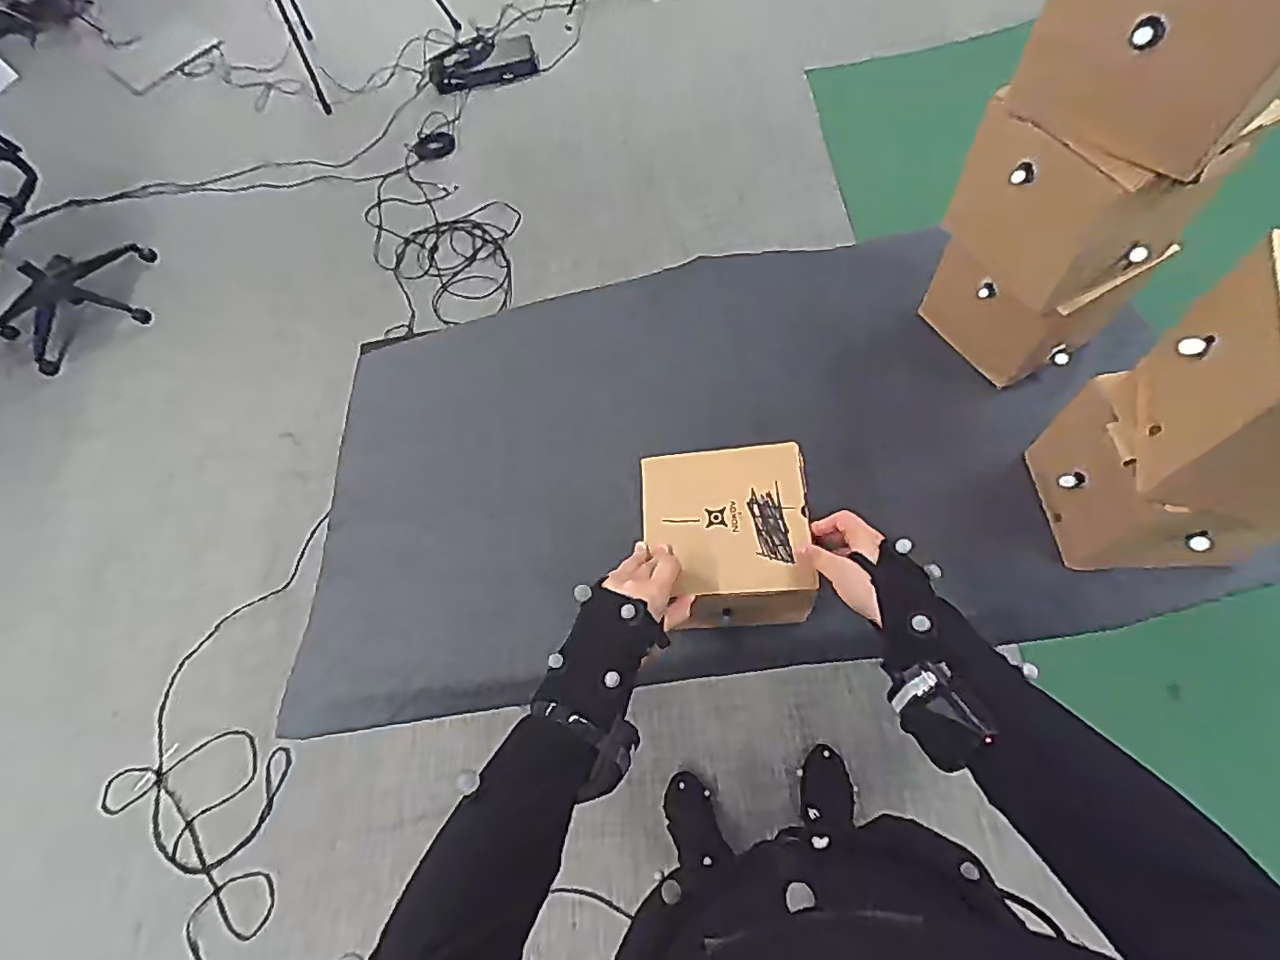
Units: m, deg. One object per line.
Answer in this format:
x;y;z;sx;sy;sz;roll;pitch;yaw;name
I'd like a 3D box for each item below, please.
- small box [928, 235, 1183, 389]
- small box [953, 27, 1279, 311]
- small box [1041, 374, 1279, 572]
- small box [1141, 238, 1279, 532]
0.526;-0.256;0.721;0.168;0.176;0.179;-30;66;-2;small box
0.477;-0.319;0.575;0.168;0.176;0.179;-26;64;1;small box
0.580;-0.002;0.591;0.179;0.176;0.168;-4;62;9;small box
0.560;-0.064;0.440;0.179;0.176;0.168;16;66;17;small box
